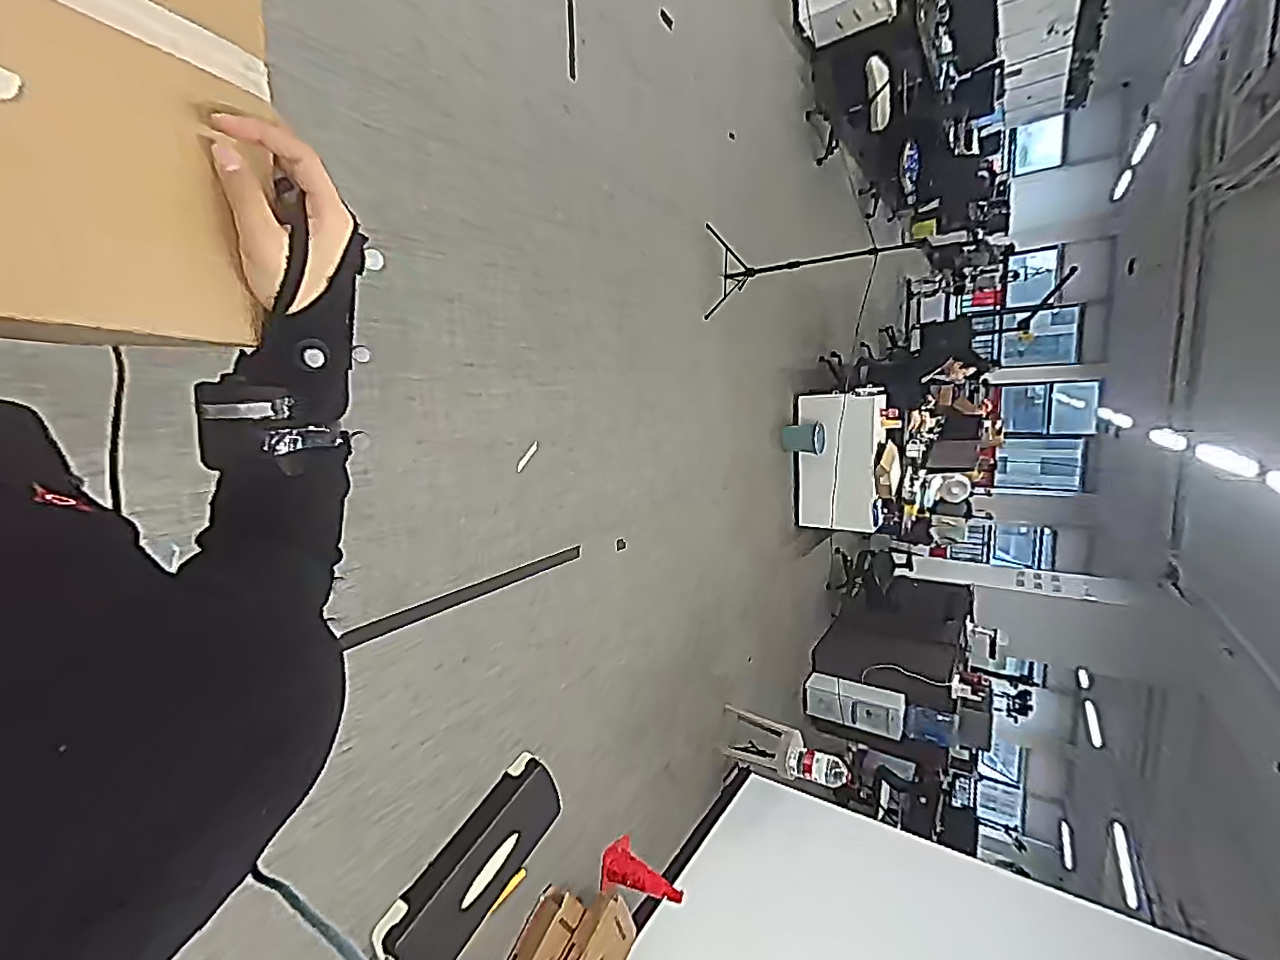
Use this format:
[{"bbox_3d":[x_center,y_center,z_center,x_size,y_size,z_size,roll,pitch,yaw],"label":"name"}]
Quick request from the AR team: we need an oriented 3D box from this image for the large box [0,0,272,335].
[{"bbox_3d":[-0.464,-0.246,0.237,0.408,0.320,0.320,-10,107,-60],"label":"large box"}]
